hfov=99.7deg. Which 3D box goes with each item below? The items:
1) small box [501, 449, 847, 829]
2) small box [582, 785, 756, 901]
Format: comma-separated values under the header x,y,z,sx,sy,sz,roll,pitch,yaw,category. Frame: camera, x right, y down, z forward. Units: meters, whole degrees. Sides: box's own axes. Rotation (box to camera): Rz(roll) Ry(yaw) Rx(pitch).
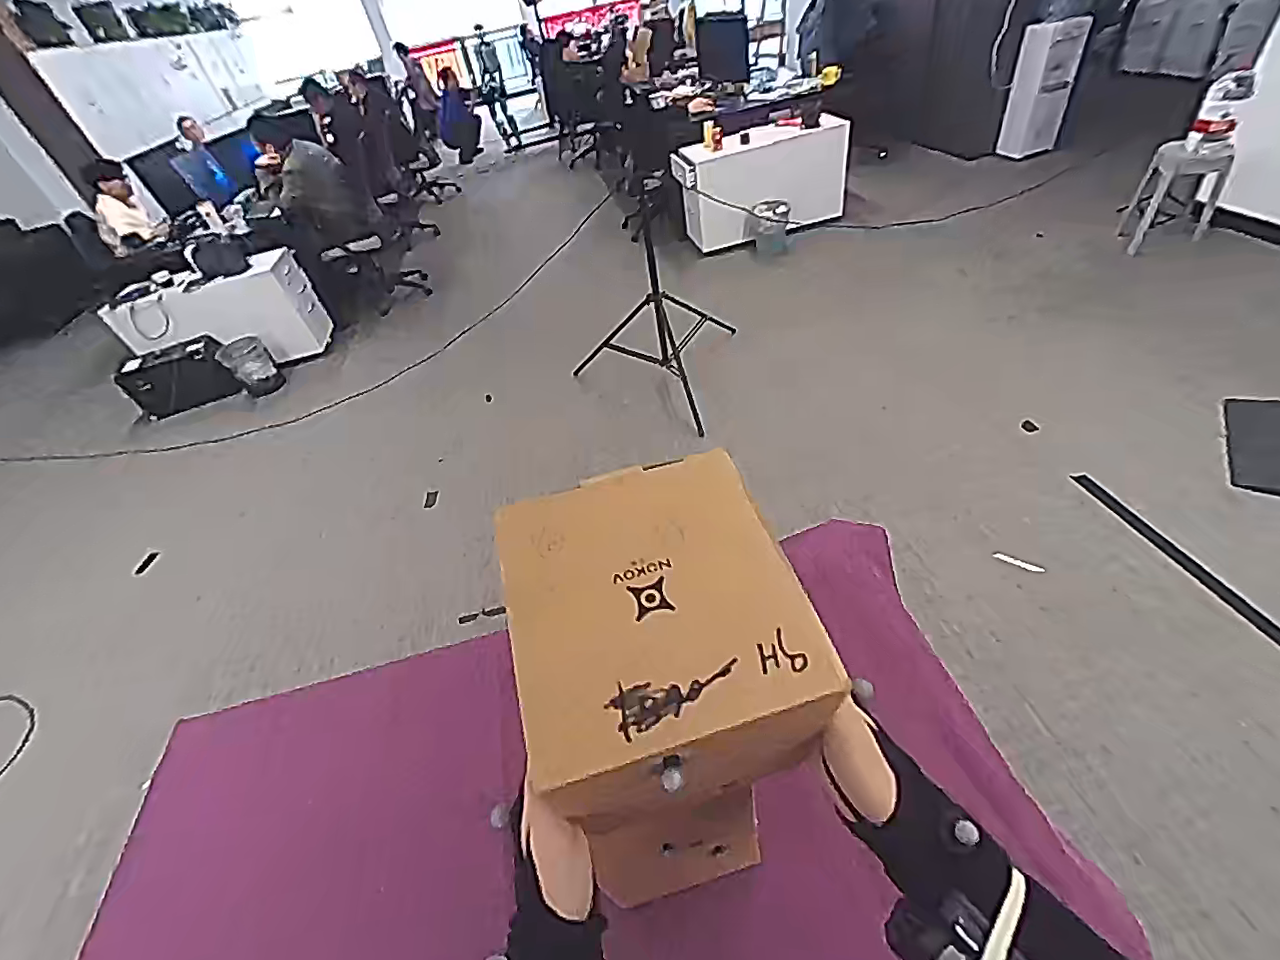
x,y,z,sx,sy,sz,roll,pitch,yaw,category
0.012,0.111,0.377,0.168,0.176,0.179,-16,50,-6,small box
0.029,0.371,0.650,0.179,0.176,0.168,-17,42,-3,small box
